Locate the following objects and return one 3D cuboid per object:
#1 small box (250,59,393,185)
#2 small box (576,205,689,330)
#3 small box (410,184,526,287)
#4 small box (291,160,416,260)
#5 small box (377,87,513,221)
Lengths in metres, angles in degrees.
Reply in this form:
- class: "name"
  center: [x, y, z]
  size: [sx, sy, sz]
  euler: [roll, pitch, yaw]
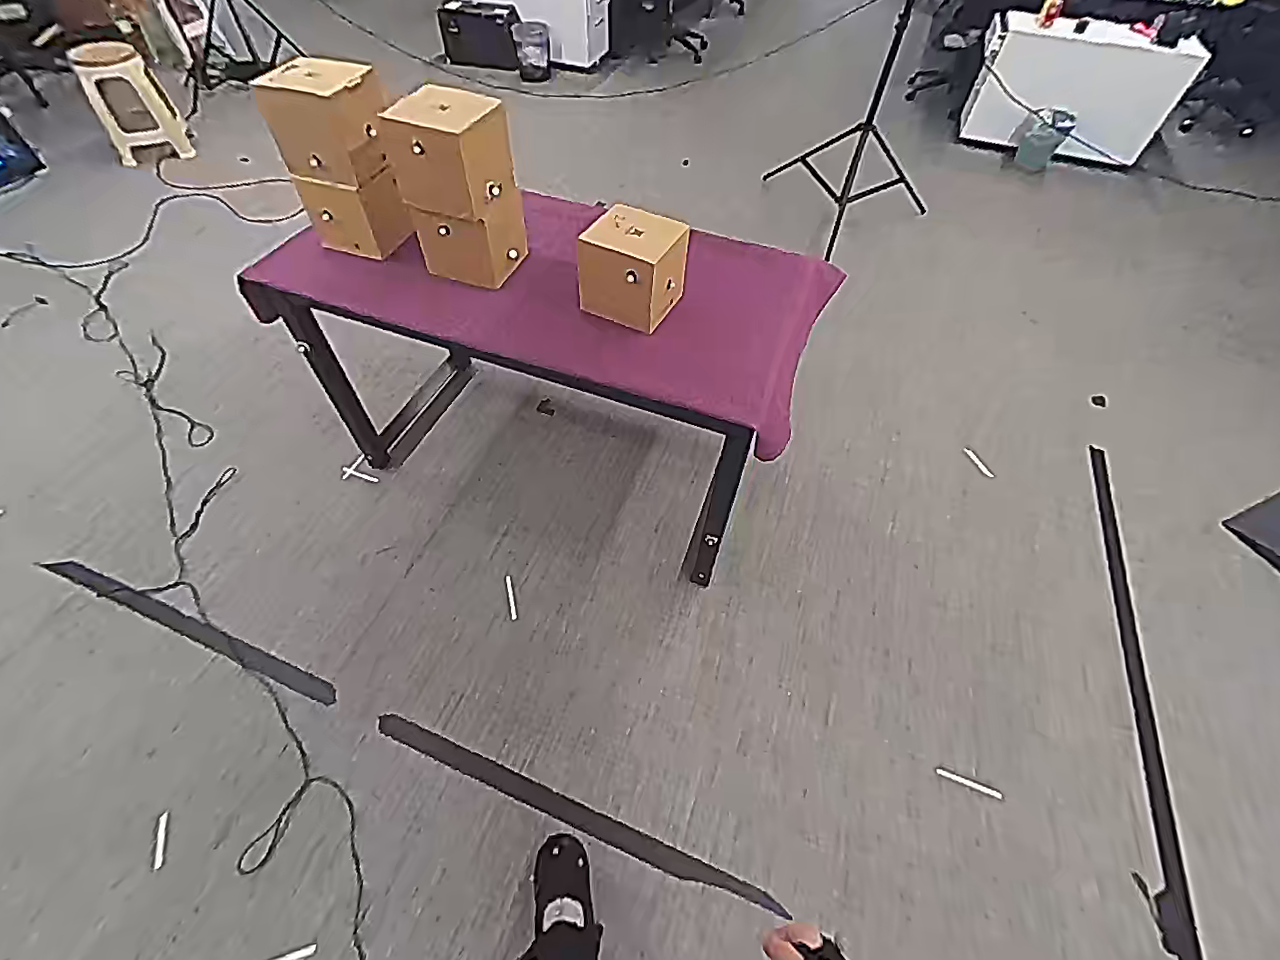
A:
- class: "small box"
  center: [-0.650, -0.747, 1.137]
  size: [0.179, 0.176, 0.168]
  euler: [14, 54, 7]
- class: "small box"
  center: [-0.016, -0.445, 1.145]
  size: [0.179, 0.176, 0.168]
  euler: [24, 55, 15]
- class: "small box"
  center: [-0.375, -0.558, 1.213]
  size: [0.179, 0.176, 0.168]
  euler: [17, 55, 8]
- class: "small box"
  center: [-0.653, -0.643, 1.263]
  size: [0.168, 0.176, 0.179]
  euler: [15, 54, 8]
- class: "small box"
  center: [-0.375, -0.644, 1.075]
  size: [0.179, 0.176, 0.168]
  euler: [19, 57, 9]
